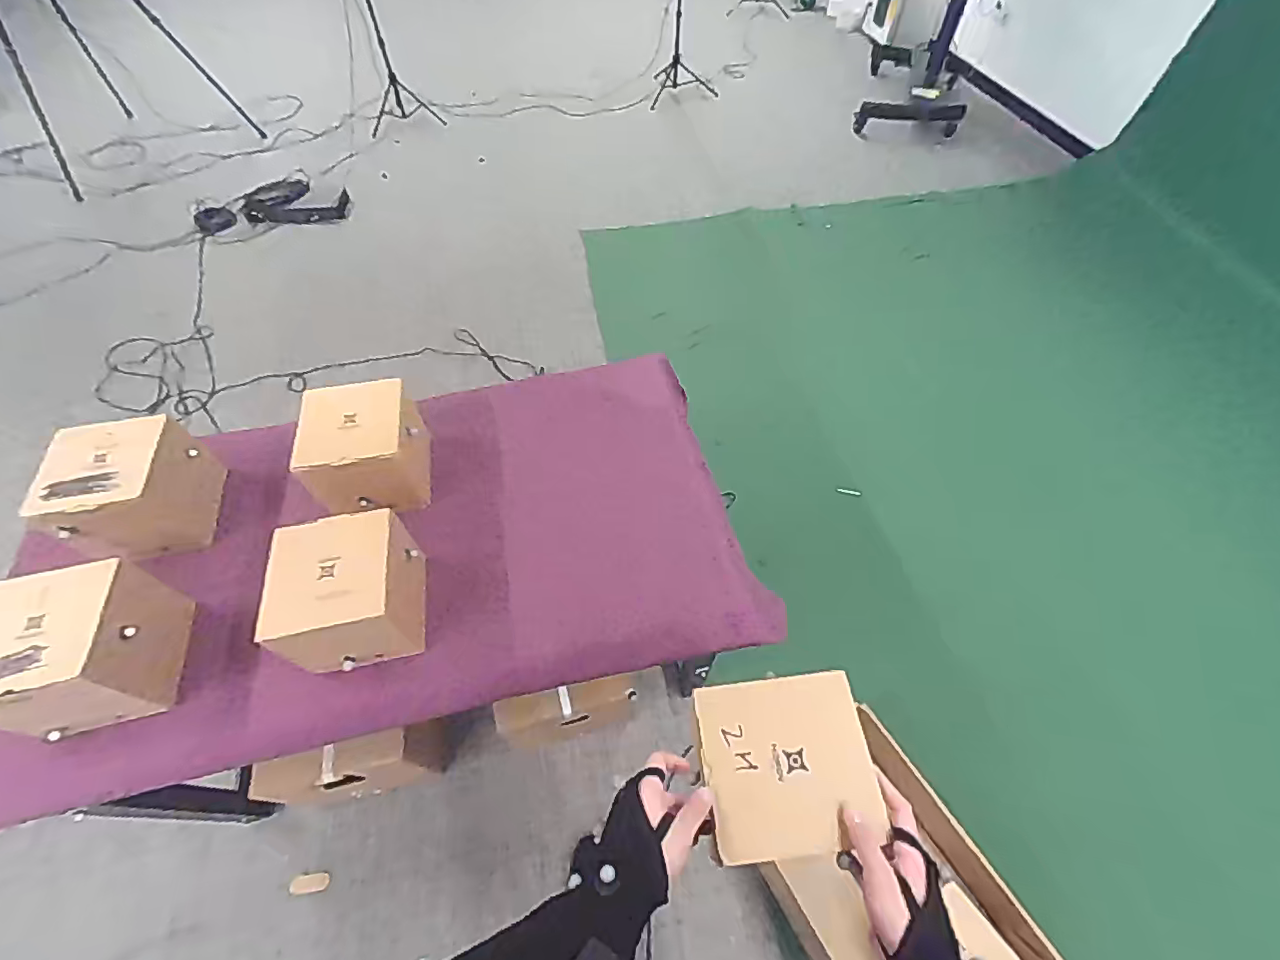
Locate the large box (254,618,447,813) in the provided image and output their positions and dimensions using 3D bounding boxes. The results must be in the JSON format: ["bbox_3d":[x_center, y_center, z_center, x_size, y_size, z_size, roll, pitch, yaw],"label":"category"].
[{"bbox_3d":[-0.690,0.559,1.354,0.320,0.320,0.408,-11,55,-8],"label":"large box"}]

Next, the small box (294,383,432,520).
[{"bbox_3d":[-0.482,-0.046,0.969,0.168,0.176,0.179,-9,57,-7],"label":"small box"}]

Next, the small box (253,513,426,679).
[{"bbox_3d":[-0.433,0.177,0.815,0.168,0.176,0.179,-10,55,-6],"label":"small box"}]

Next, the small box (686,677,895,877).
[{"bbox_3d":[0.151,0.334,0.614,0.179,0.176,0.168,-8,57,-1],"label":"small box"}]

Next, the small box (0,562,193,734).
[{"bbox_3d":[-0.786,0.244,0.765,0.168,0.176,0.179,-12,55,-9],"label":"small box"}]
